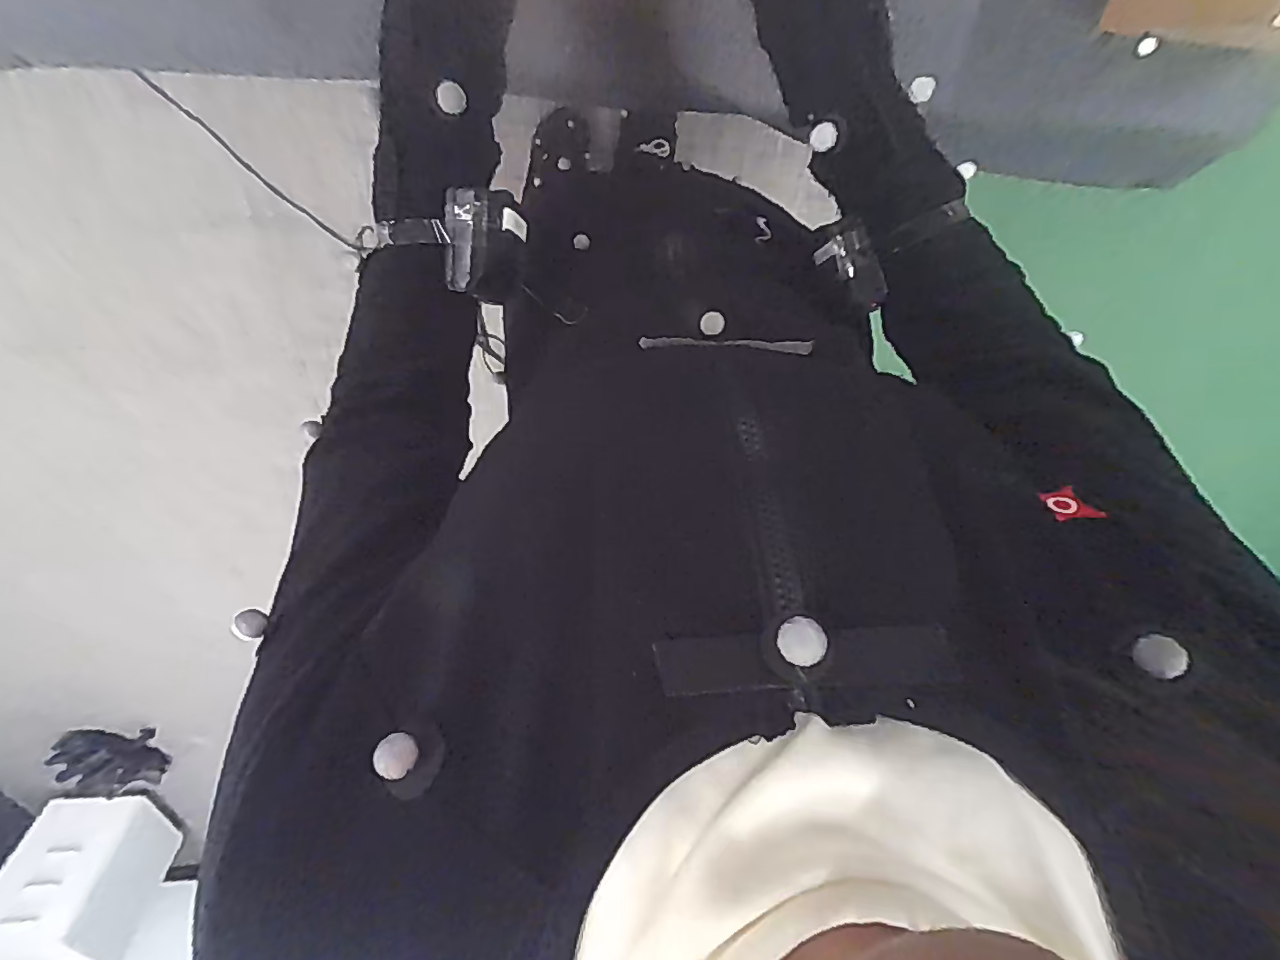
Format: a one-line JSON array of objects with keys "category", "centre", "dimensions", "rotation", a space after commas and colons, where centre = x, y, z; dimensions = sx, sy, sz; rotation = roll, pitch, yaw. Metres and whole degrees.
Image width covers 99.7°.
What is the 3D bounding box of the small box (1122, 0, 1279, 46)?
[{"category": "small box", "centre": [0.491, -0.412, 0.366], "dimensions": [0.168, 0.176, 0.179], "rotation": [2, 128, -5]}]
